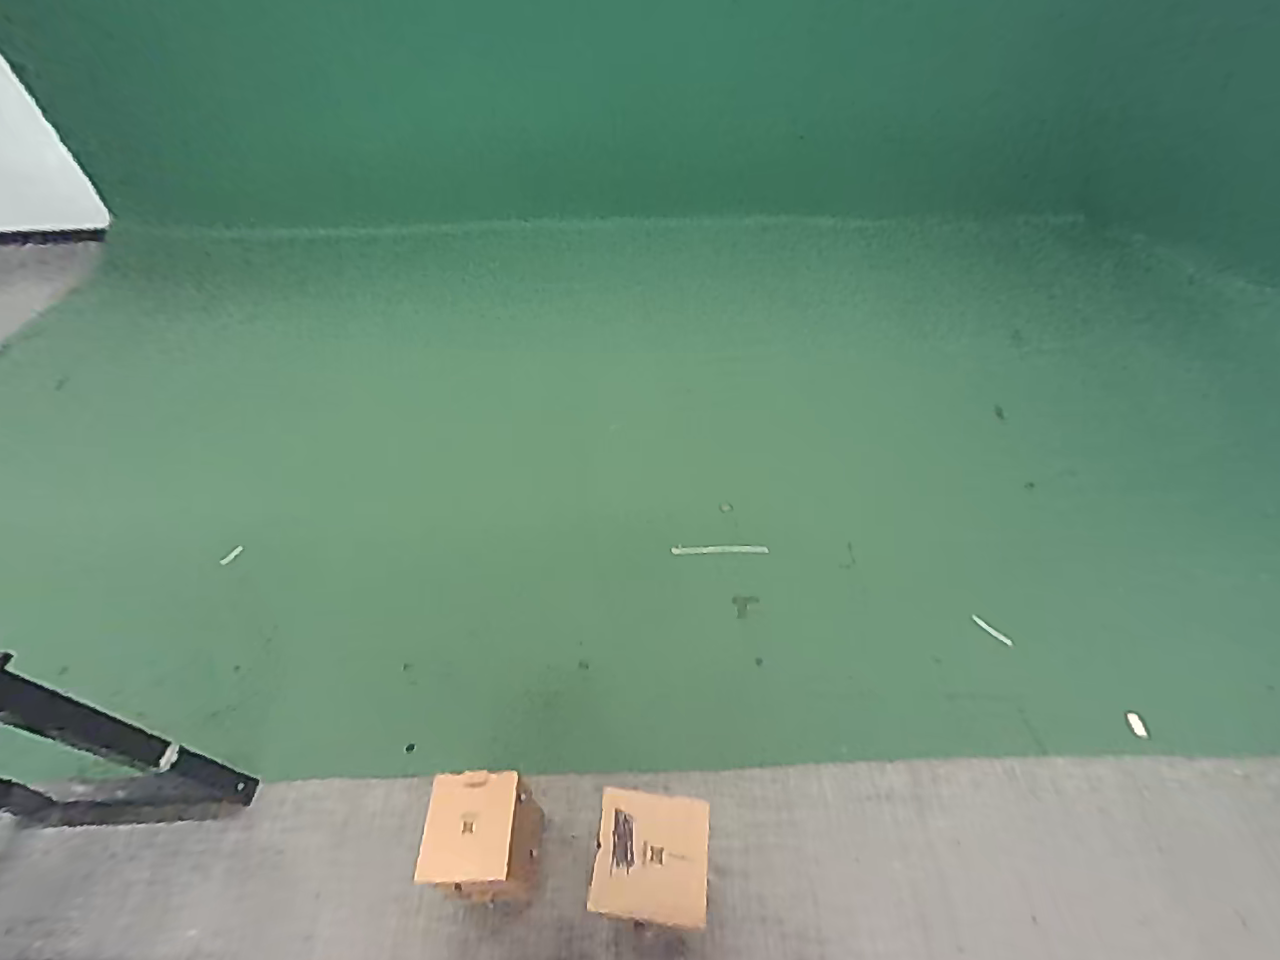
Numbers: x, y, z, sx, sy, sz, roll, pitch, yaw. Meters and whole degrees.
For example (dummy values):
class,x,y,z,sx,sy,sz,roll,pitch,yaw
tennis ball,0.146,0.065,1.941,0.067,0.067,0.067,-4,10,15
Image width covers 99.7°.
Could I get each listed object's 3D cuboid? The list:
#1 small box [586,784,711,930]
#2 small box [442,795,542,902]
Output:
class,x,y,z,sx,sy,sz,roll,pitch,yaw
small box,0.019,0.617,0.882,0.179,0.176,0.168,5,50,5
small box,-0.309,0.799,1.169,0.168,0.176,0.179,-4,50,-1
